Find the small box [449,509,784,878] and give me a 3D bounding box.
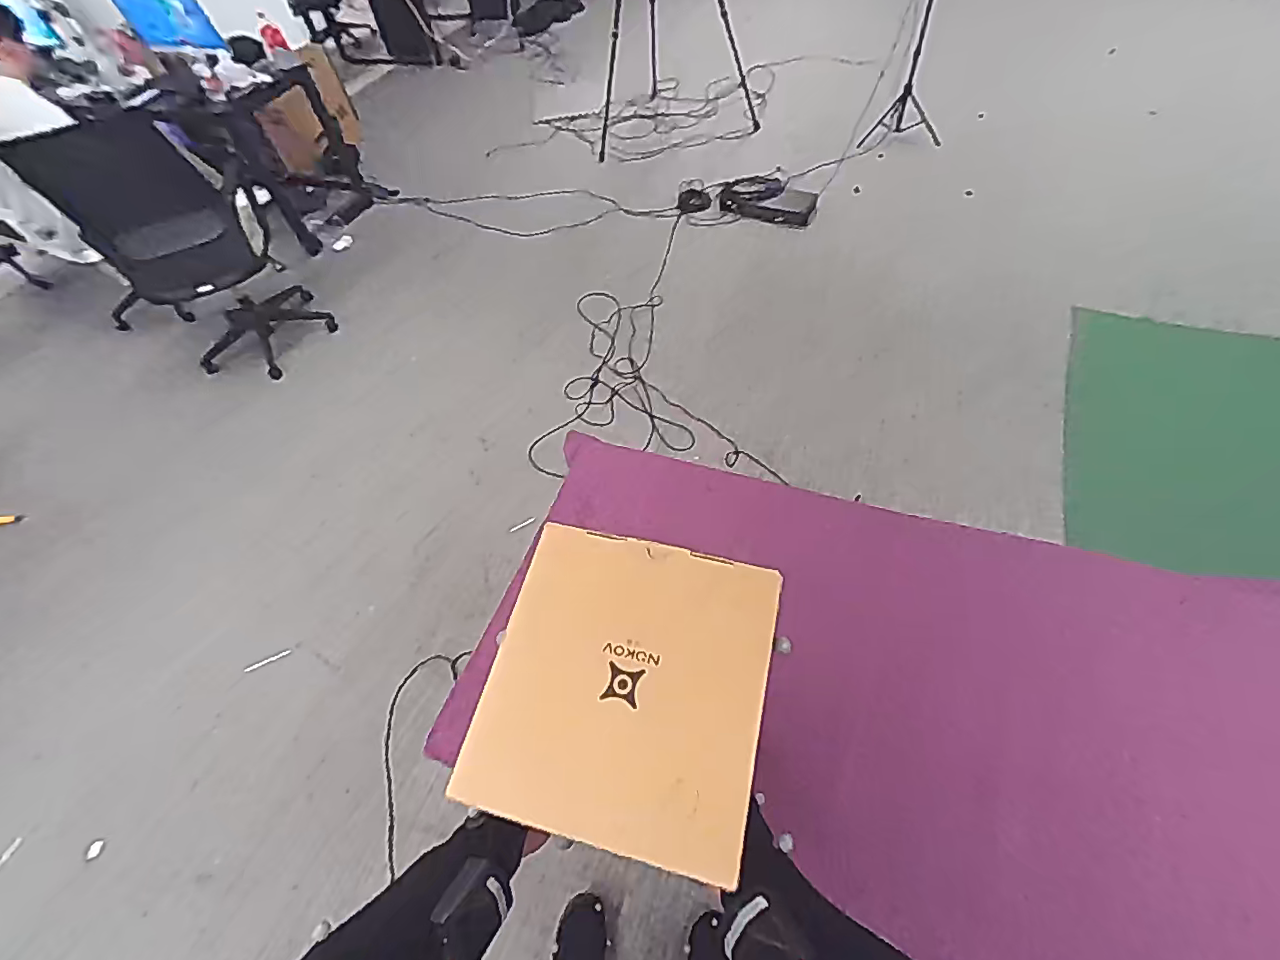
[{"bbox_3d":[-0.001,0.147,0.391,0.168,0.176,0.179,11,62,11],"label":"small box"}]
